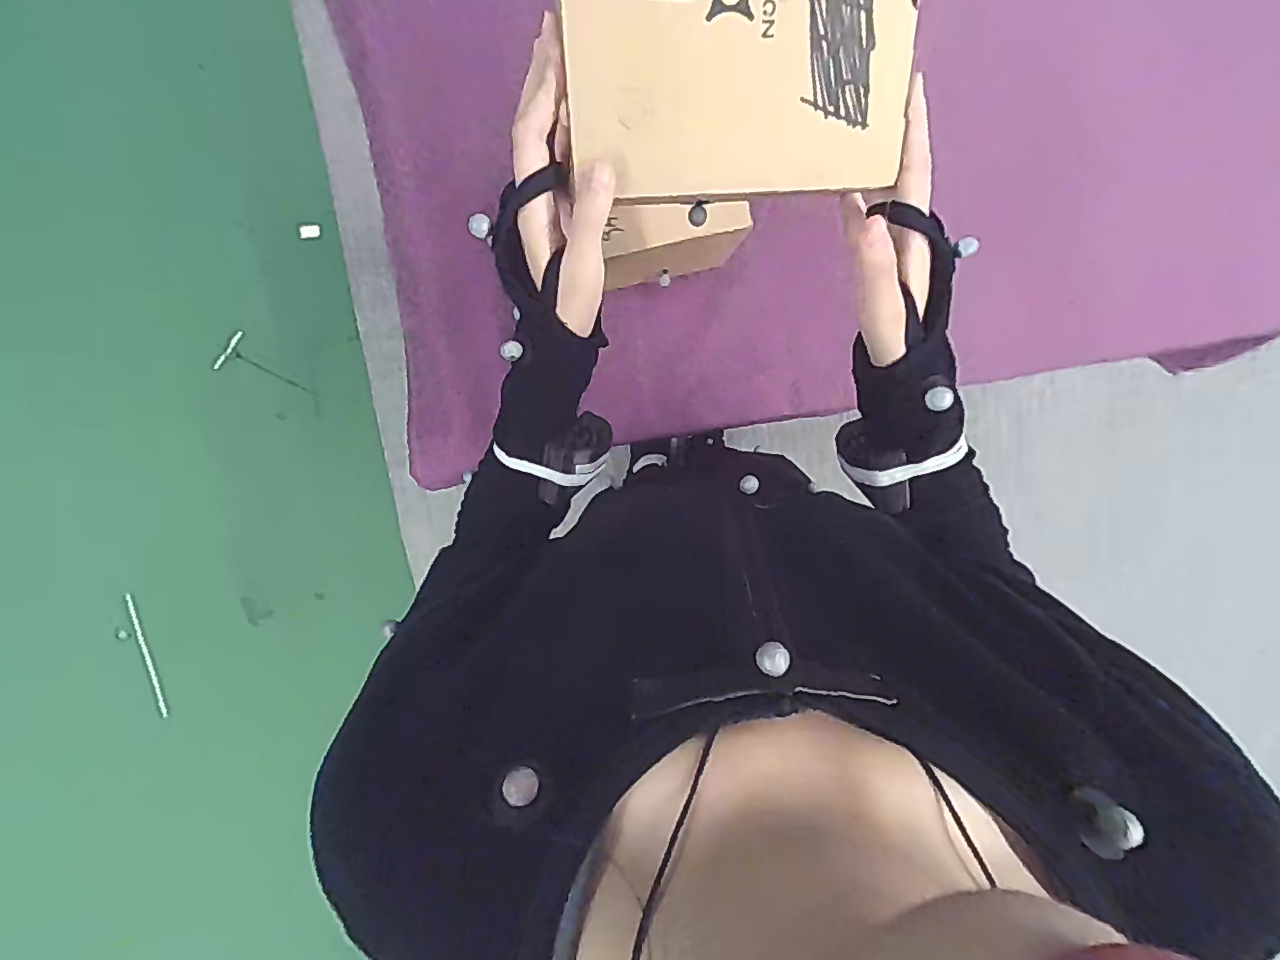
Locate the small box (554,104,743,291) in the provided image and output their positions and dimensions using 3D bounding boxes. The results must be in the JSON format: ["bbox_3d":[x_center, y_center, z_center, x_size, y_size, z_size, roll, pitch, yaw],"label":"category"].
[{"bbox_3d":[0.007,-0.336,0.640,0.179,0.176,0.168,-12,99,-1],"label":"small box"}]

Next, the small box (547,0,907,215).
[{"bbox_3d":[0.036,-0.255,0.328,0.179,0.176,0.168,-3,116,-4],"label":"small box"}]
